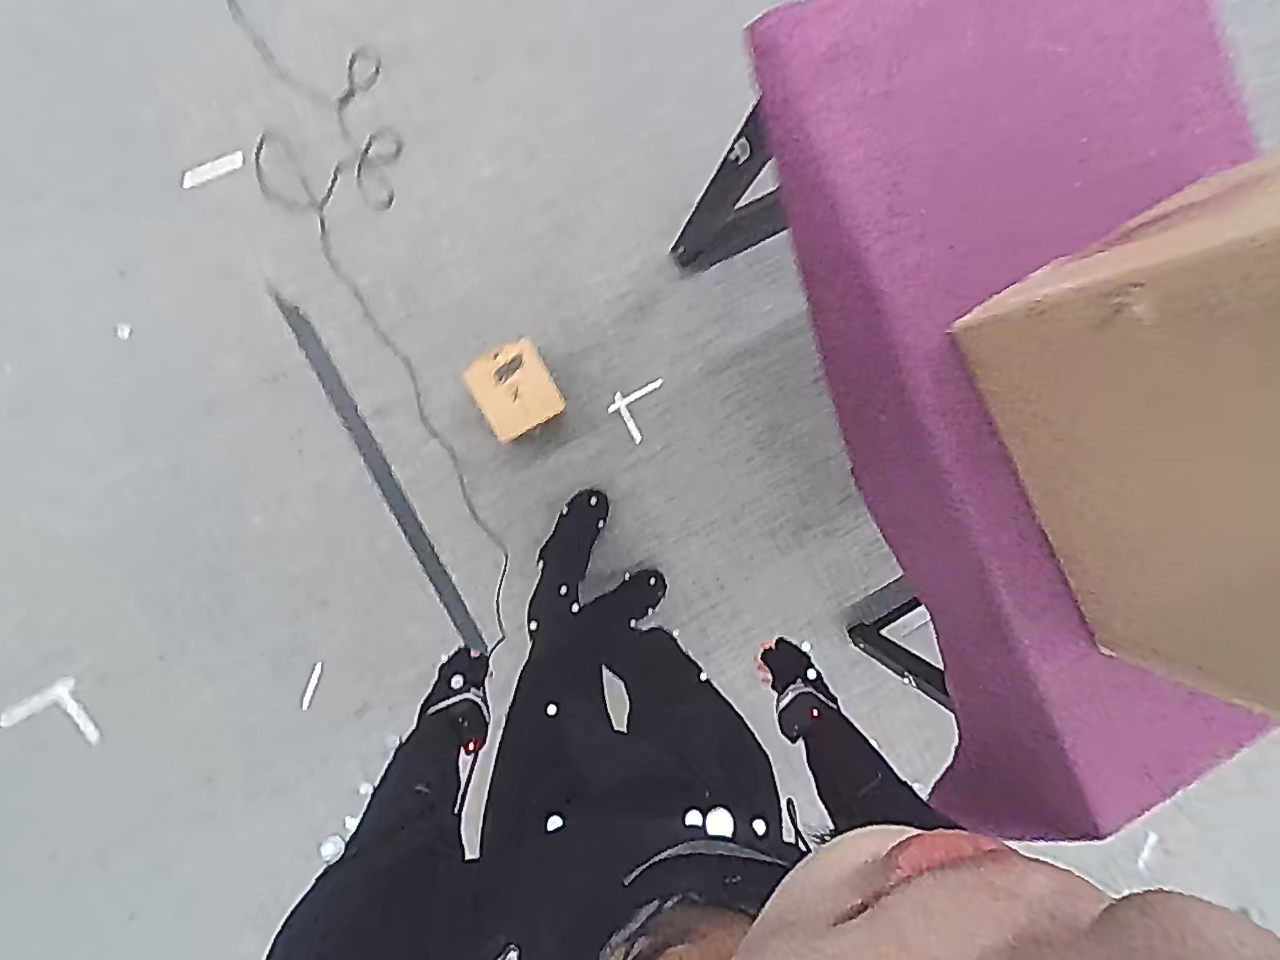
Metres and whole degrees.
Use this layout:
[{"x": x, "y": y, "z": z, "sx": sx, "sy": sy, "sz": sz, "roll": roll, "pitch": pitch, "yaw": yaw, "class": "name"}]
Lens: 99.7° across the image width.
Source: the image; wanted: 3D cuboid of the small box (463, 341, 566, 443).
[{"x": -0.286, "y": -0.195, "z": 1.259, "sx": 0.168, "sy": 0.176, "sz": 0.179, "roll": -30, "pitch": 97, "yaw": -6, "class": "small box"}]
